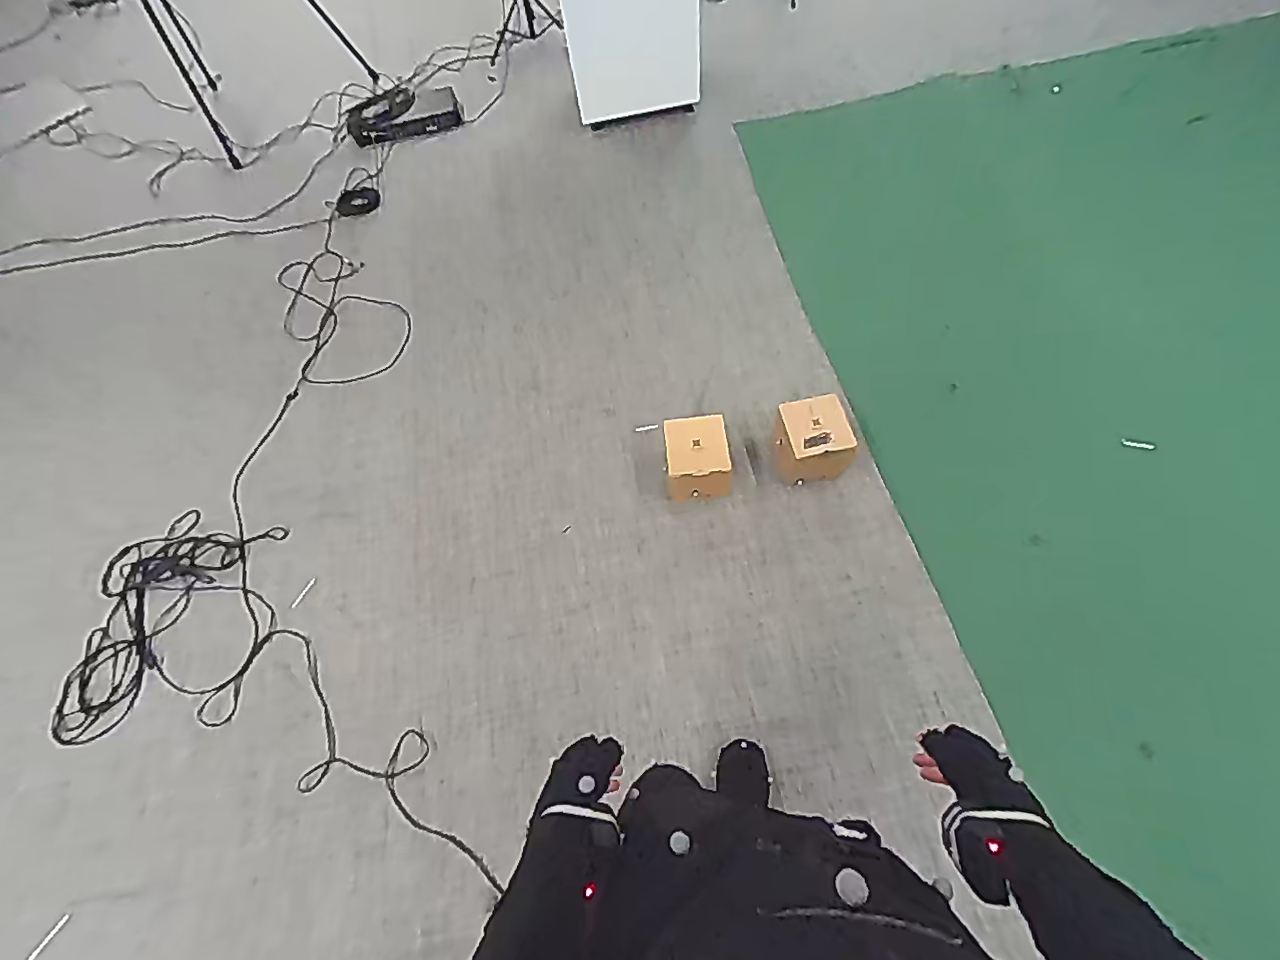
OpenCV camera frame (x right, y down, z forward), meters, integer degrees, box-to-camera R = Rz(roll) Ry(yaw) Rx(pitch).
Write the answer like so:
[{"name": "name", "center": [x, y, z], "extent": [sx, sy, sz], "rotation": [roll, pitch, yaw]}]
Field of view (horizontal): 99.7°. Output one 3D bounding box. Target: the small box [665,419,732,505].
[{"name": "small box", "center": [0.158, -0.047, 1.512], "extent": [0.168, 0.176, 0.179], "rotation": [-6, 64, 2]}]

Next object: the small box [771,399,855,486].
[{"name": "small box", "center": [0.473, -0.096, 1.505], "extent": [0.168, 0.176, 0.179], "rotation": [-11, 62, 0]}]
